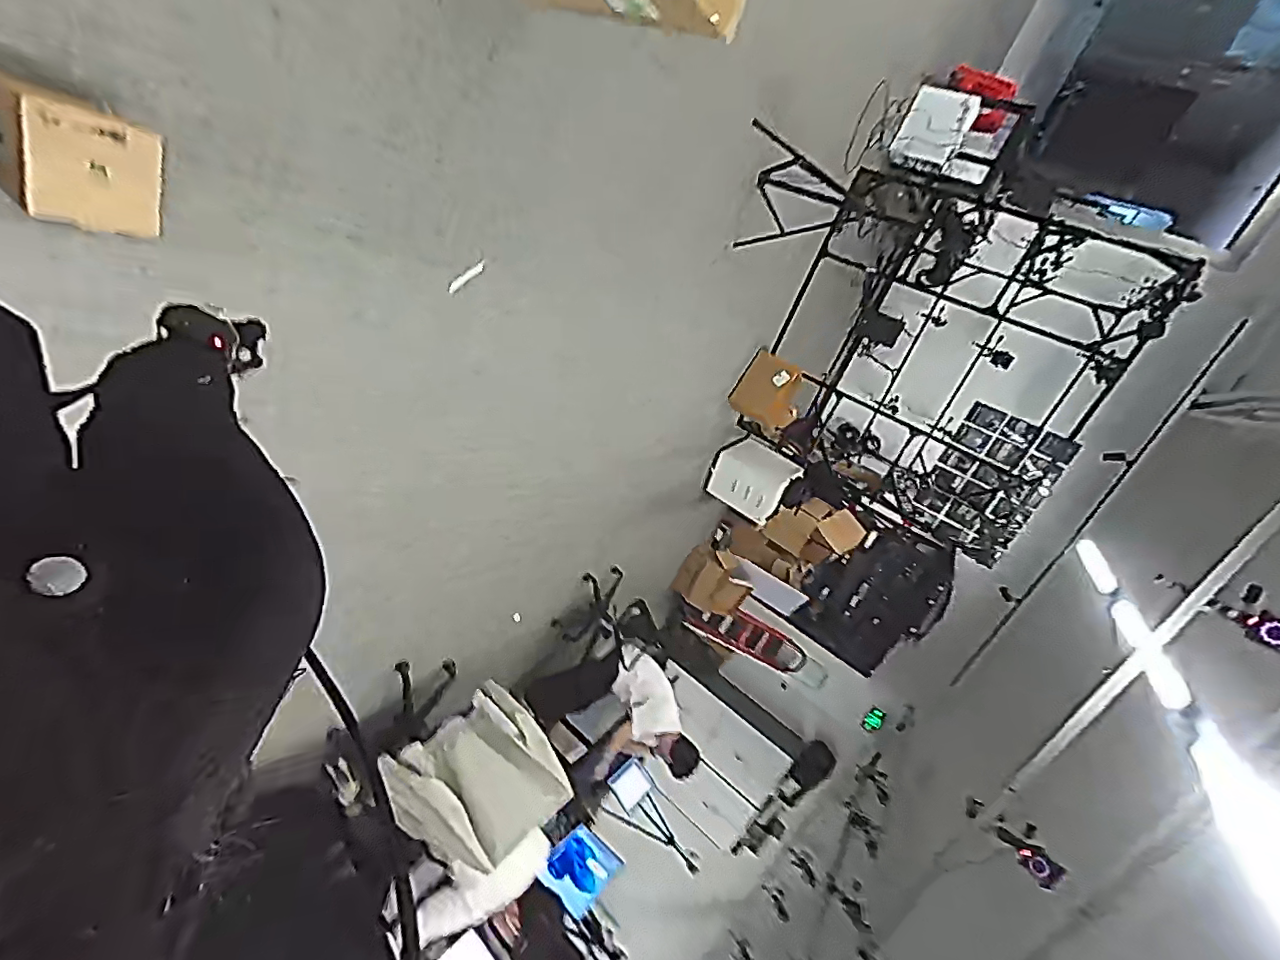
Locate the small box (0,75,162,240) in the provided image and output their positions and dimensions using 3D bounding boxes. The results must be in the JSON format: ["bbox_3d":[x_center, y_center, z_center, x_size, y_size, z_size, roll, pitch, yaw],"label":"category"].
[{"bbox_3d":[-0.954,-0.542,0.919,0.168,0.176,0.179,-13,132,-57],"label":"small box"}]
